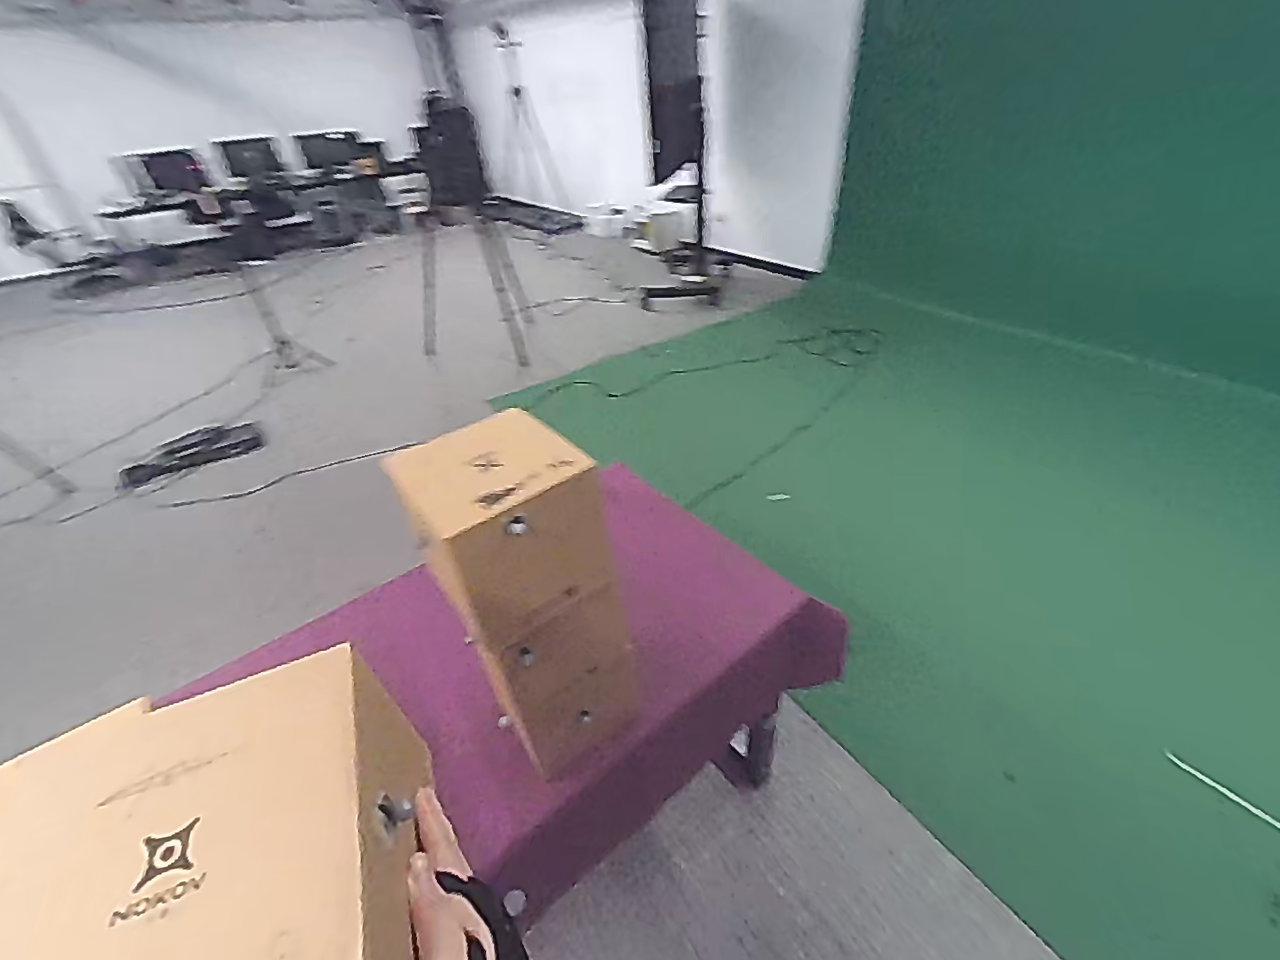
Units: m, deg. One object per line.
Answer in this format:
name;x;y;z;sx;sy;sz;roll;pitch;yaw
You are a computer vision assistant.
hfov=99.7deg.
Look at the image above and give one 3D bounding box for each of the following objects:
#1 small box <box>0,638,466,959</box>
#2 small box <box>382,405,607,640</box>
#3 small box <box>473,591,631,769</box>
small box;-0.208;0.229;0.304;0.168;0.176;0.179;-17;45;-15
small box;-0.156;0.042;0.607;0.168;0.176;0.179;-30;42;-27
small box;-0.125;0.291;0.822;0.179;0.176;0.168;-28;42;-25
